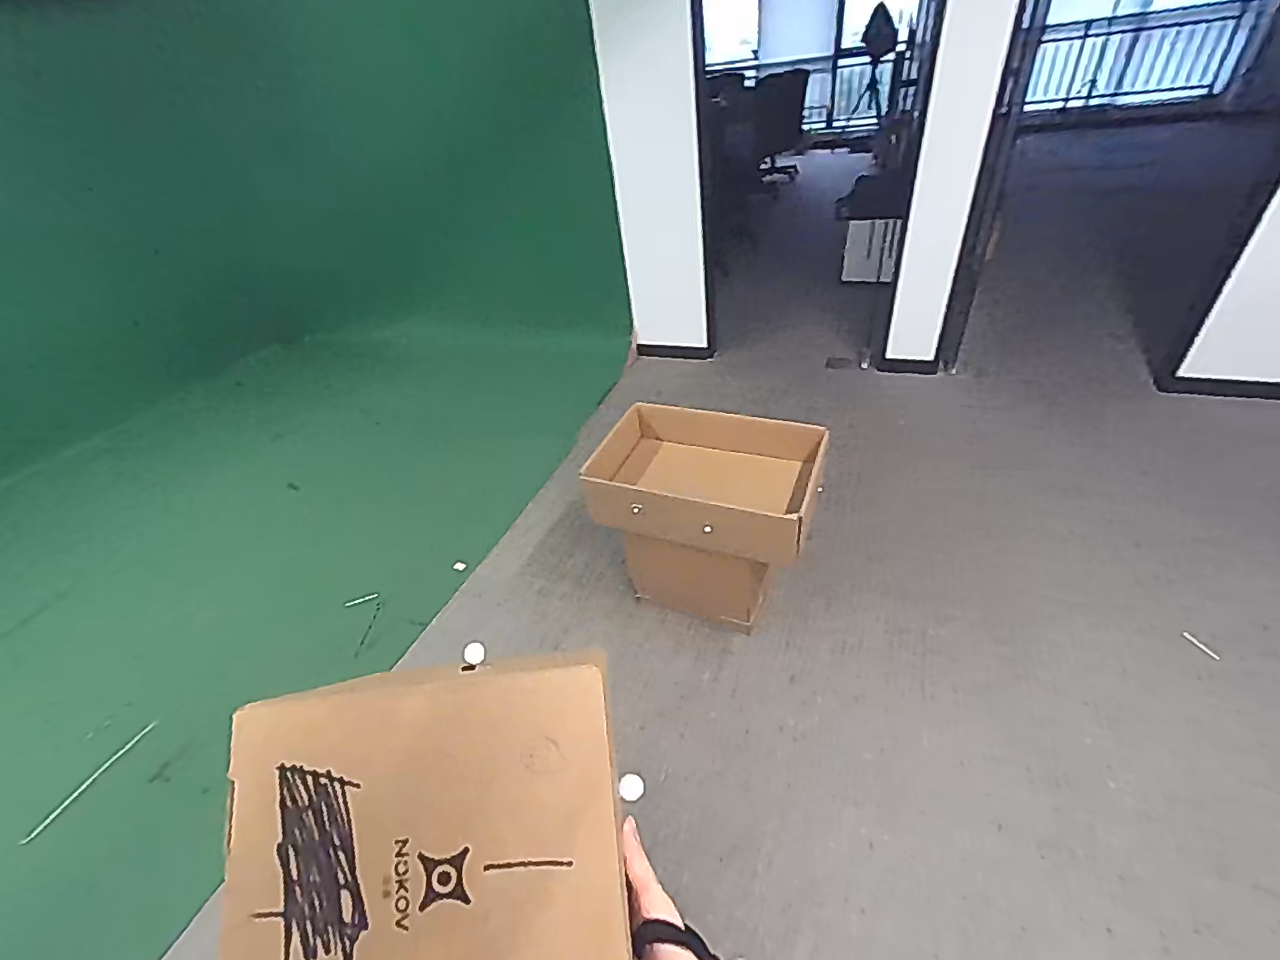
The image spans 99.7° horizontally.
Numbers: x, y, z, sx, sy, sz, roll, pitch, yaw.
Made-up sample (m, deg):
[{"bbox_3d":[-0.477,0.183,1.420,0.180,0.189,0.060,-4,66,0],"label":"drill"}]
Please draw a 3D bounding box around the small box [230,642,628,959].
[{"bbox_3d":[-0.100,0.192,0.327,0.179,0.176,0.168,-5,76,-4],"label":"small box"}]
